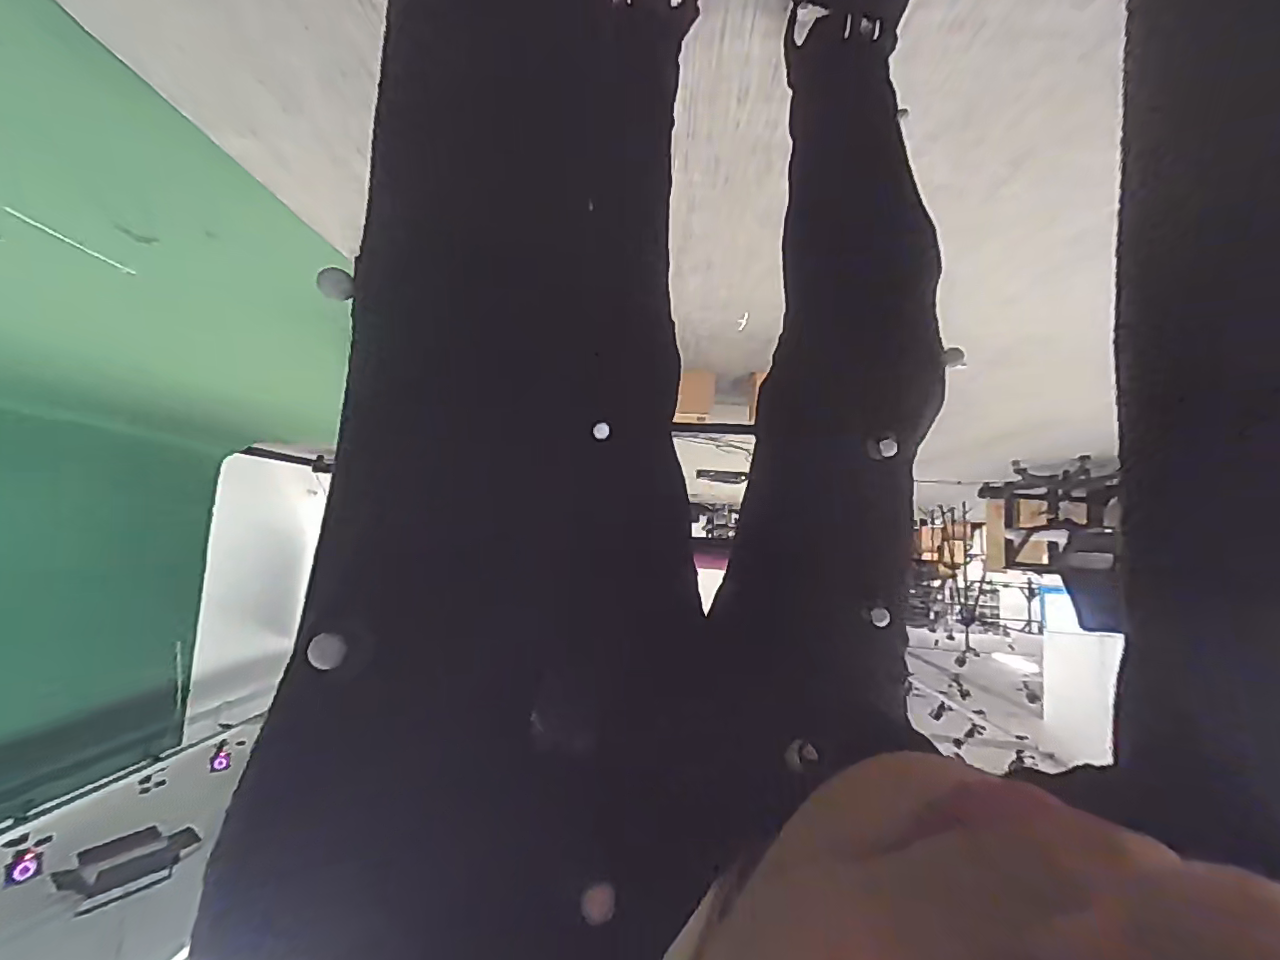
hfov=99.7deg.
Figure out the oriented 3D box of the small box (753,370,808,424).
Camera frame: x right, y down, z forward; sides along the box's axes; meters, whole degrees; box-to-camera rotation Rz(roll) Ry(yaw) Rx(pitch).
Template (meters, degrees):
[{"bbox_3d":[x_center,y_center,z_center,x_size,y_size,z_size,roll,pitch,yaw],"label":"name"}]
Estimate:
[{"bbox_3d":[0.531,-0.314,2.047,0.179,0.176,0.168,3,175,4],"label":"small box"}]
